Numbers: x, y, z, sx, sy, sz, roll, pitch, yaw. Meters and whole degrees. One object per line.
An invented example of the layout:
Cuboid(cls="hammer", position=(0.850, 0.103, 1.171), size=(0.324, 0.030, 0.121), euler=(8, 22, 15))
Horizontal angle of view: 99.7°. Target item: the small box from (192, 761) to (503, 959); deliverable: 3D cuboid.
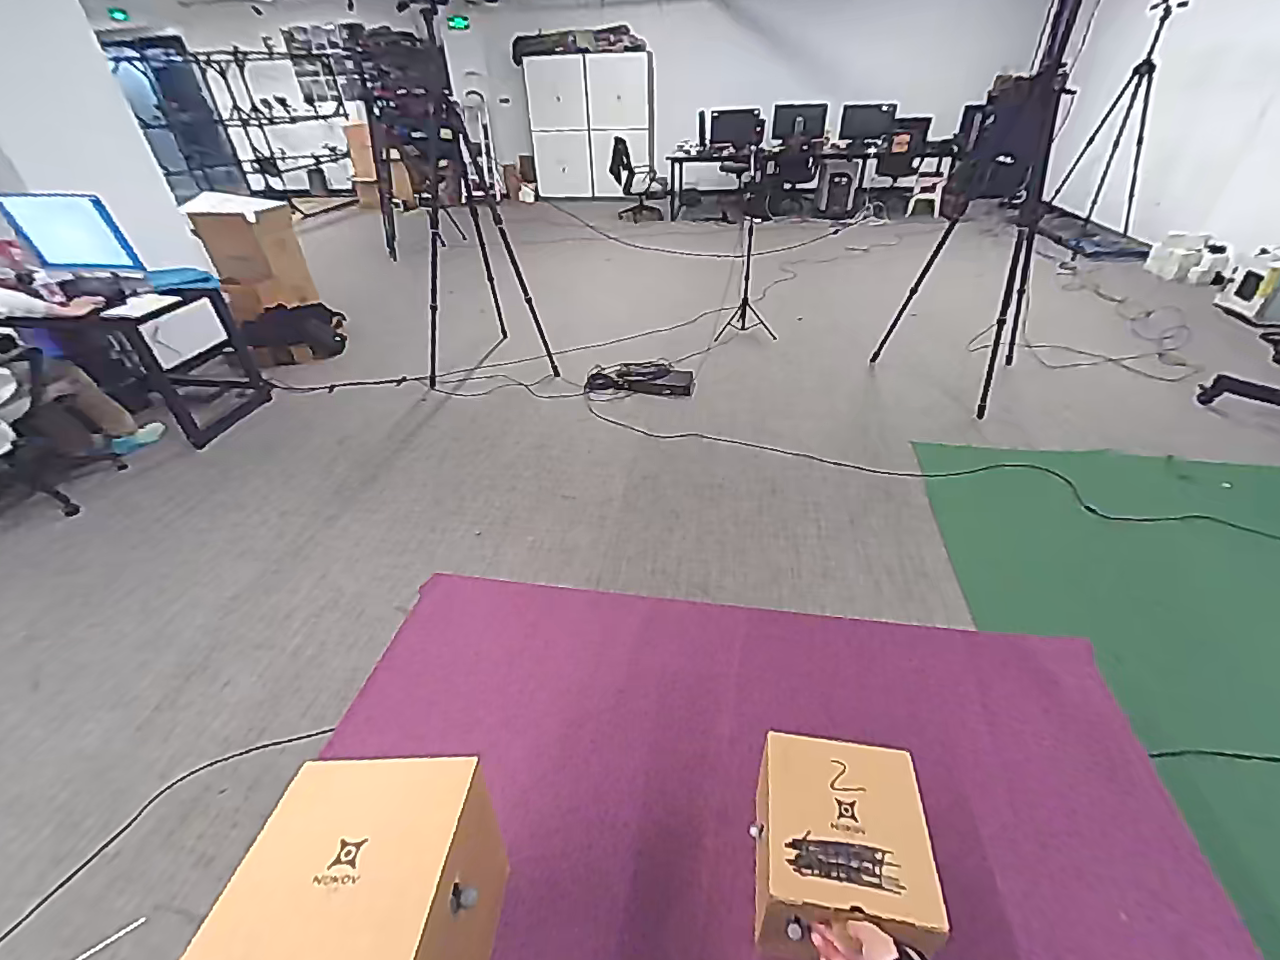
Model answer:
Cuboid(cls="small box", position=(-0.226, 0.377, 0.469), size=(0.168, 0.176, 0.179), euler=(-3, 27, 3))
